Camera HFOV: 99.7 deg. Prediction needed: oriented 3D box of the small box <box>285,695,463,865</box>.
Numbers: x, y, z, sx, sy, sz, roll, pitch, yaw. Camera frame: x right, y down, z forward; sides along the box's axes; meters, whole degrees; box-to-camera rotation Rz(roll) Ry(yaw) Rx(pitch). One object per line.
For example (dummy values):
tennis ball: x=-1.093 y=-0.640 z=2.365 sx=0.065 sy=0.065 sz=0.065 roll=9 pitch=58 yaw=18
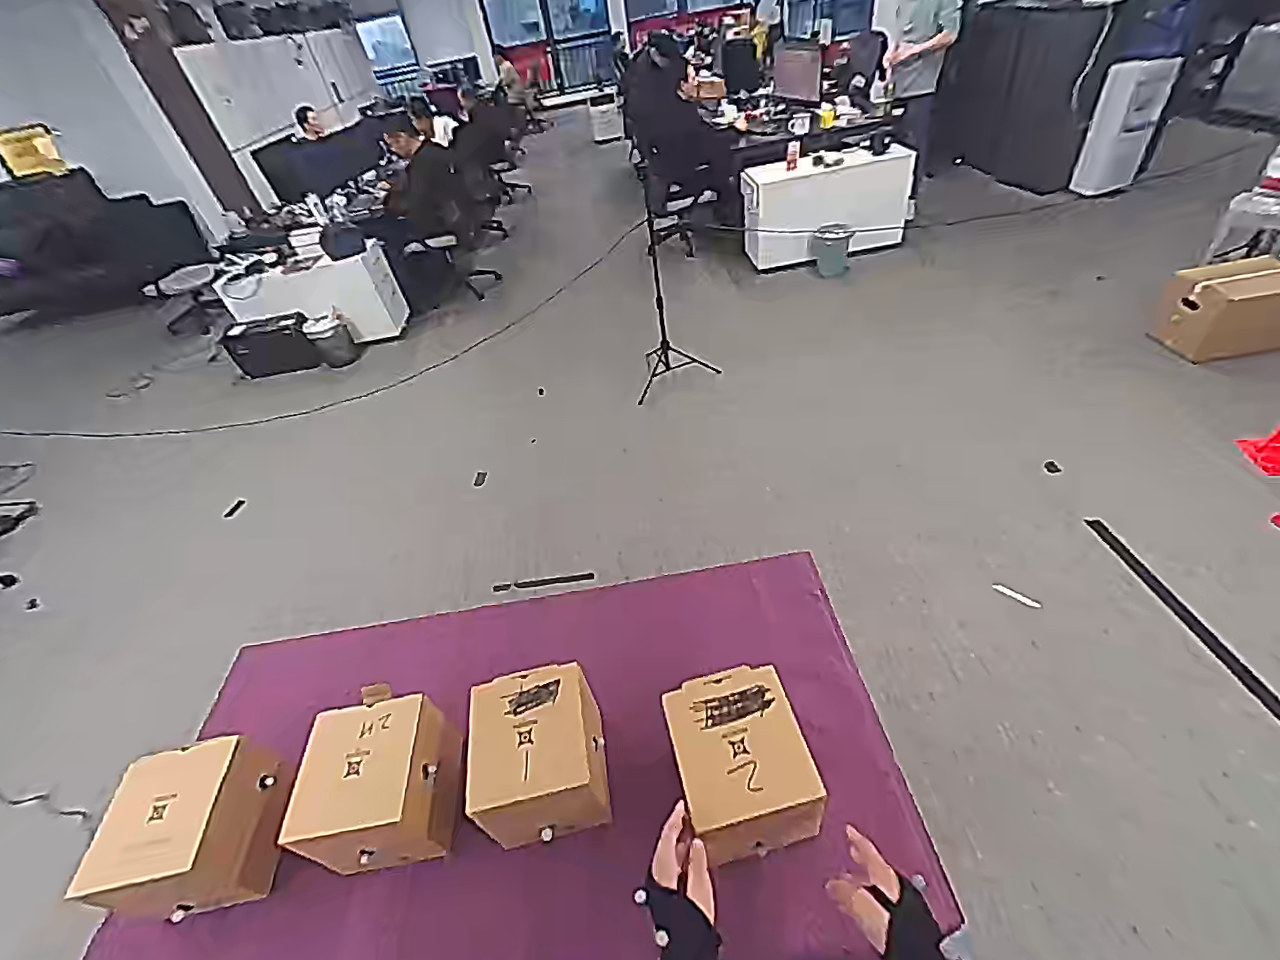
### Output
small box: x=-0.382 y=0.457 z=0.817 sx=0.168 sy=0.176 sz=0.179 roll=-11 pitch=42 yaw=0

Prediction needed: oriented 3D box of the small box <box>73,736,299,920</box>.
small box: x=-0.649 y=0.519 z=0.808 sx=0.168 sy=0.176 sz=0.179 roll=-13 pitch=42 yaw=-1

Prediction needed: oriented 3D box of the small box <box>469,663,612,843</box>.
small box: x=-0.144 y=0.411 z=0.816 sx=0.168 sy=0.176 sz=0.179 roll=-14 pitch=43 yaw=-2
